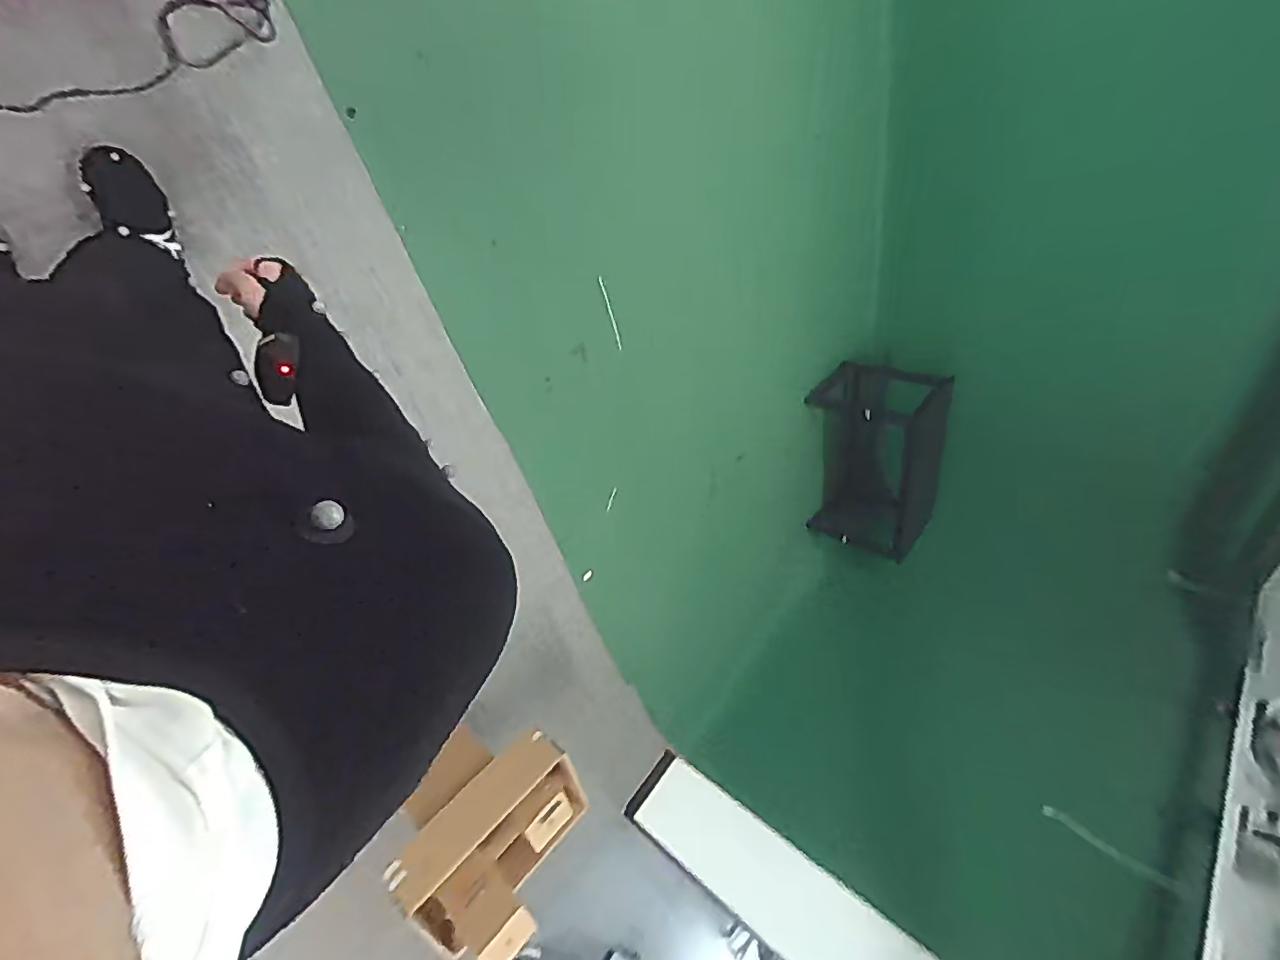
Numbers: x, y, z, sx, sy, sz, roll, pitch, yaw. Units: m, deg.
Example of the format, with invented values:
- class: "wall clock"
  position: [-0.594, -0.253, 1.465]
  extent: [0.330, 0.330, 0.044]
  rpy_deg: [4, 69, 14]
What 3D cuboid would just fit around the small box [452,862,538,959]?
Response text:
- class: "small box"
  position: [-0.447, 1.332, 1.665]
  extent: [0.168, 0.176, 0.179]
  rpy_deg: [-37, 131, -34]
